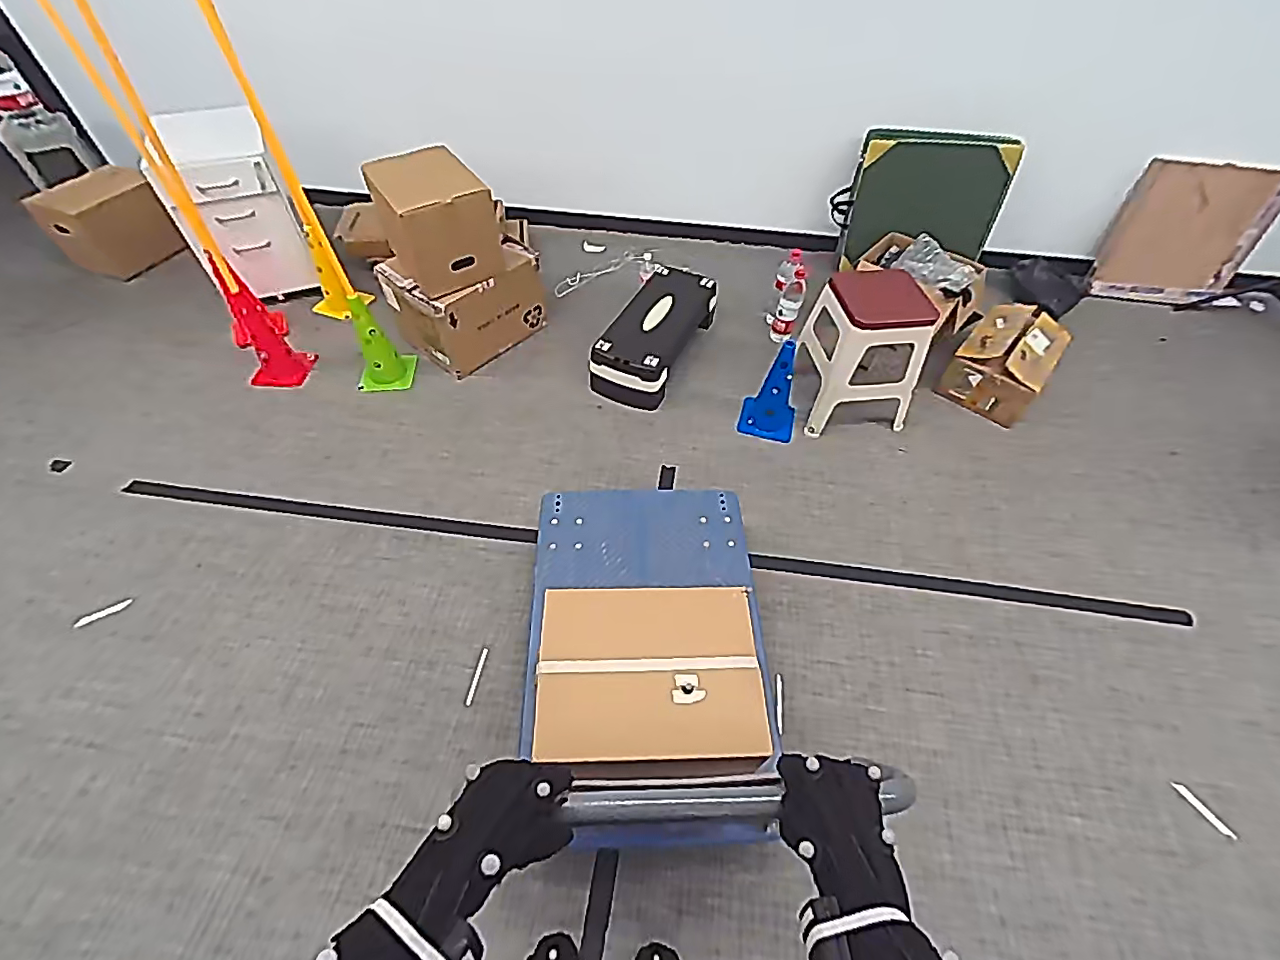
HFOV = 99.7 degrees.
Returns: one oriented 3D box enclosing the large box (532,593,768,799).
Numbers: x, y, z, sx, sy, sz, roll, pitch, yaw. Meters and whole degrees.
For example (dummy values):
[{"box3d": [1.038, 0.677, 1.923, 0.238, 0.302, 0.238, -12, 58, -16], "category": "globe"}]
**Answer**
[{"box3d": [0.005, 0.442, 1.099, 0.408, 0.320, 0.320, 0, 53, -3], "category": "large box"}]
